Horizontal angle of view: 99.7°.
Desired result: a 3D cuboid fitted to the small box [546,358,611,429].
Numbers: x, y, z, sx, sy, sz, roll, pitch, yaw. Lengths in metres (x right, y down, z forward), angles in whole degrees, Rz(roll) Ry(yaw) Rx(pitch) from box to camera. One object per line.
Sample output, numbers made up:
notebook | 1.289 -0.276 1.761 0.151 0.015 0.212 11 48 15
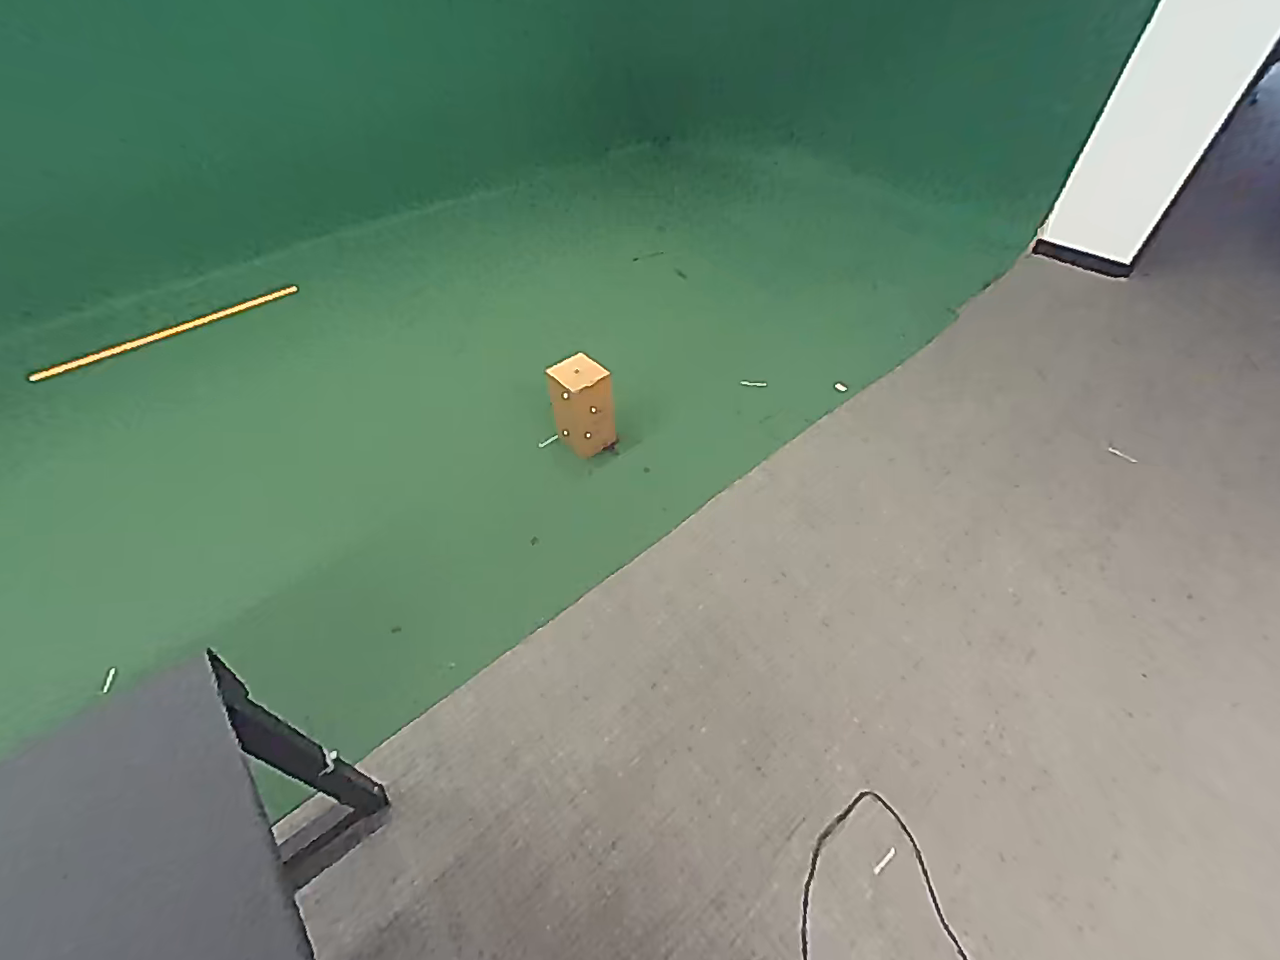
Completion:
small box | -0.223 -0.316 1.983 0.168 0.176 0.179 -32 54 -27
